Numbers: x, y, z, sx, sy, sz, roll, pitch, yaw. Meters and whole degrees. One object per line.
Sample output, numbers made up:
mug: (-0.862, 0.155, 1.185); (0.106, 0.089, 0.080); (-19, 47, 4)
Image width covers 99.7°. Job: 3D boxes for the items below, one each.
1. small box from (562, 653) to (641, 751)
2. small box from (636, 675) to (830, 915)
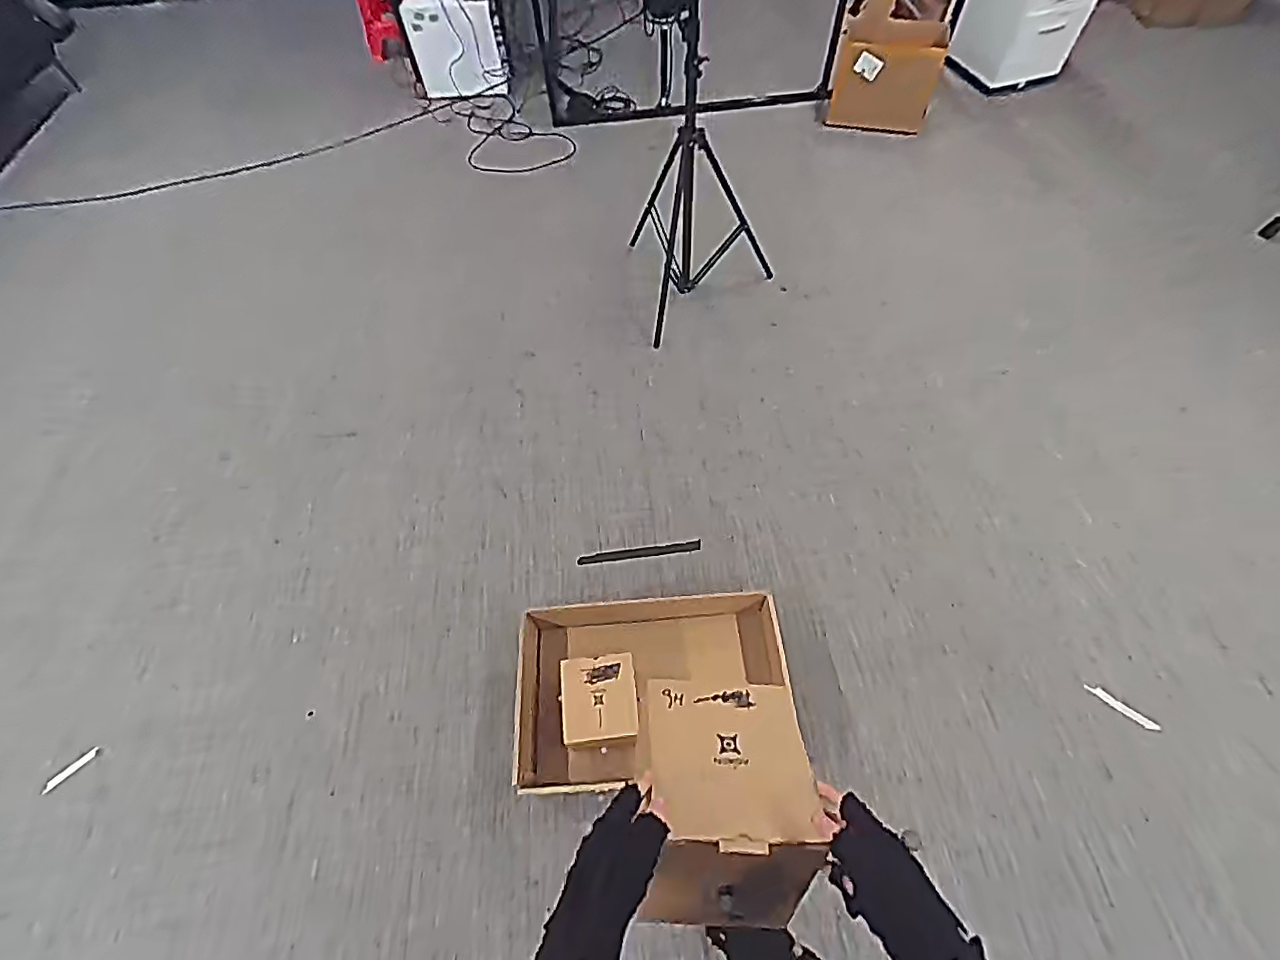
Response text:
small box: (-0.087, 0.517, 1.252); (0.168, 0.176, 0.179); (-6, 59, -2)
small box: (0.086, 0.343, 0.595); (0.168, 0.176, 0.179); (4, 31, -3)
